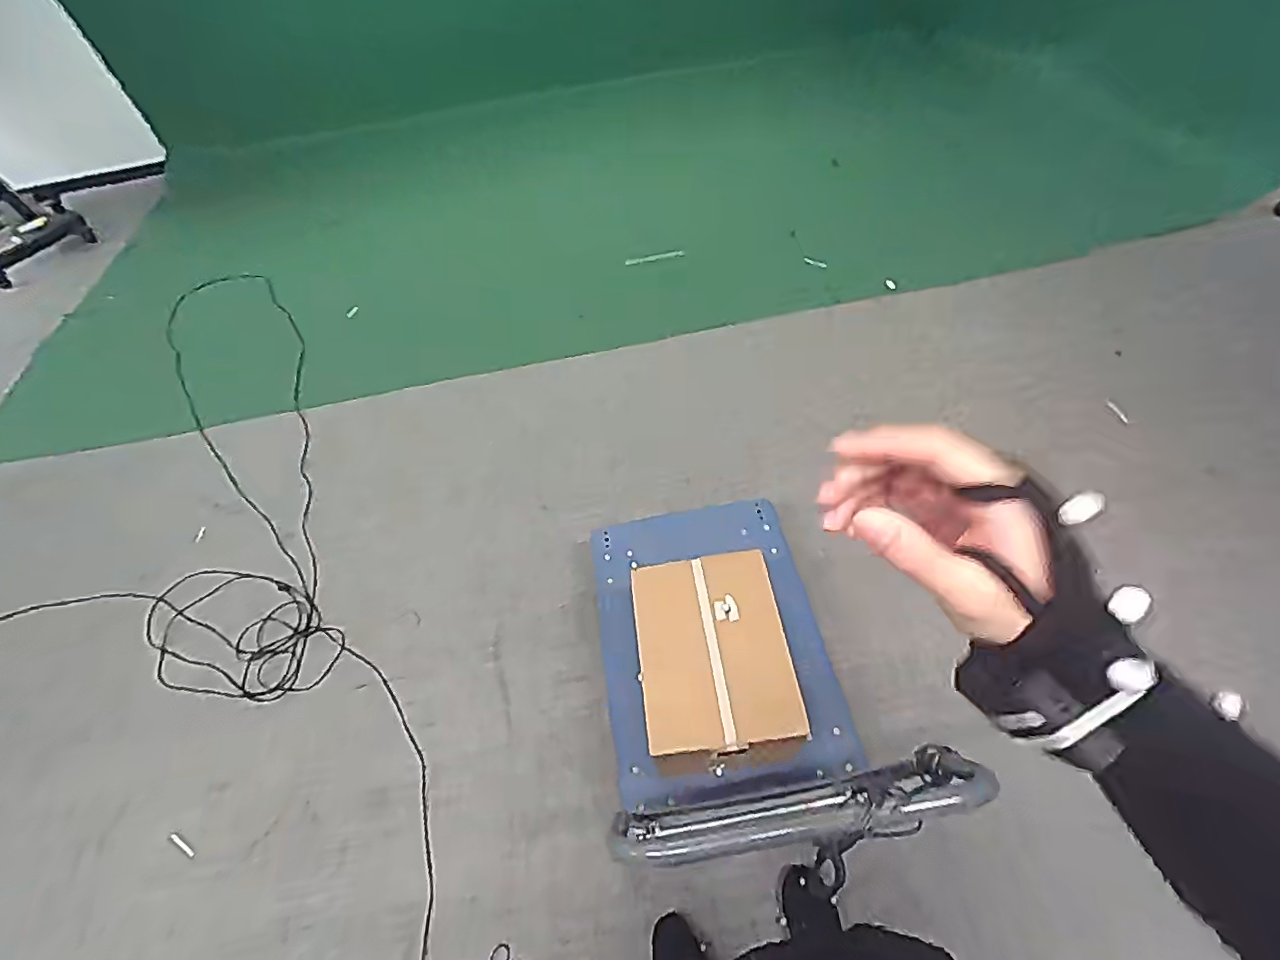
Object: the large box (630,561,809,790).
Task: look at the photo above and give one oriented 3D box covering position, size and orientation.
[{"bbox_3d":[0.168,0.459,1.265,0.320,0.320,0.408,-8,52,1],"label":"large box"}]
